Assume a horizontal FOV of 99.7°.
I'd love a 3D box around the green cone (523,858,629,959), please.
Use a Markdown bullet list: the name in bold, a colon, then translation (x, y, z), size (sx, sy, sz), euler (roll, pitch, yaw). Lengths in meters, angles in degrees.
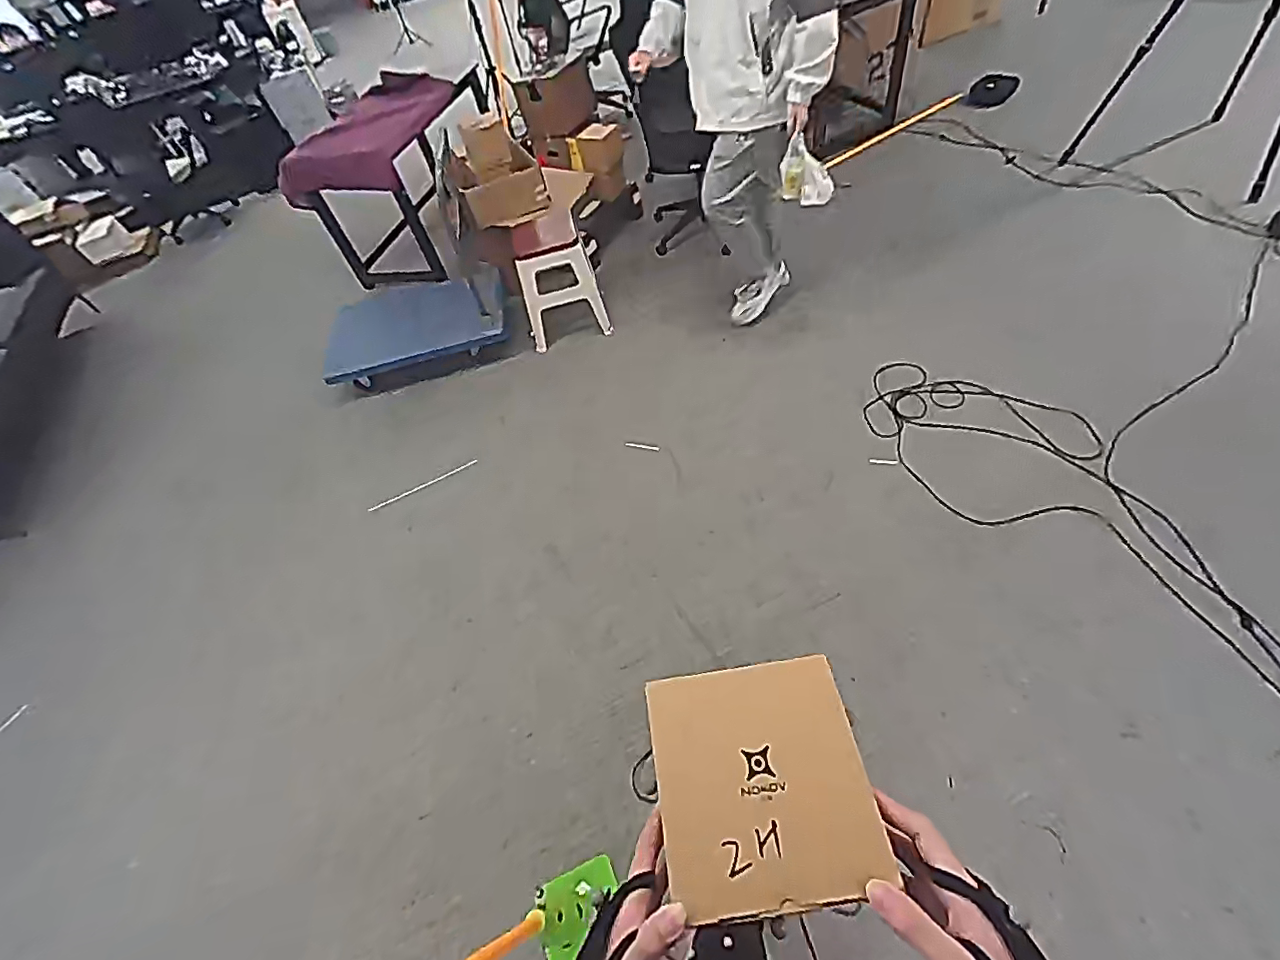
- **green cone**: translation (-0.169, 0.911, 1.106), size (0.202, 0.368, 0.200), euler (-23, 52, -8)
